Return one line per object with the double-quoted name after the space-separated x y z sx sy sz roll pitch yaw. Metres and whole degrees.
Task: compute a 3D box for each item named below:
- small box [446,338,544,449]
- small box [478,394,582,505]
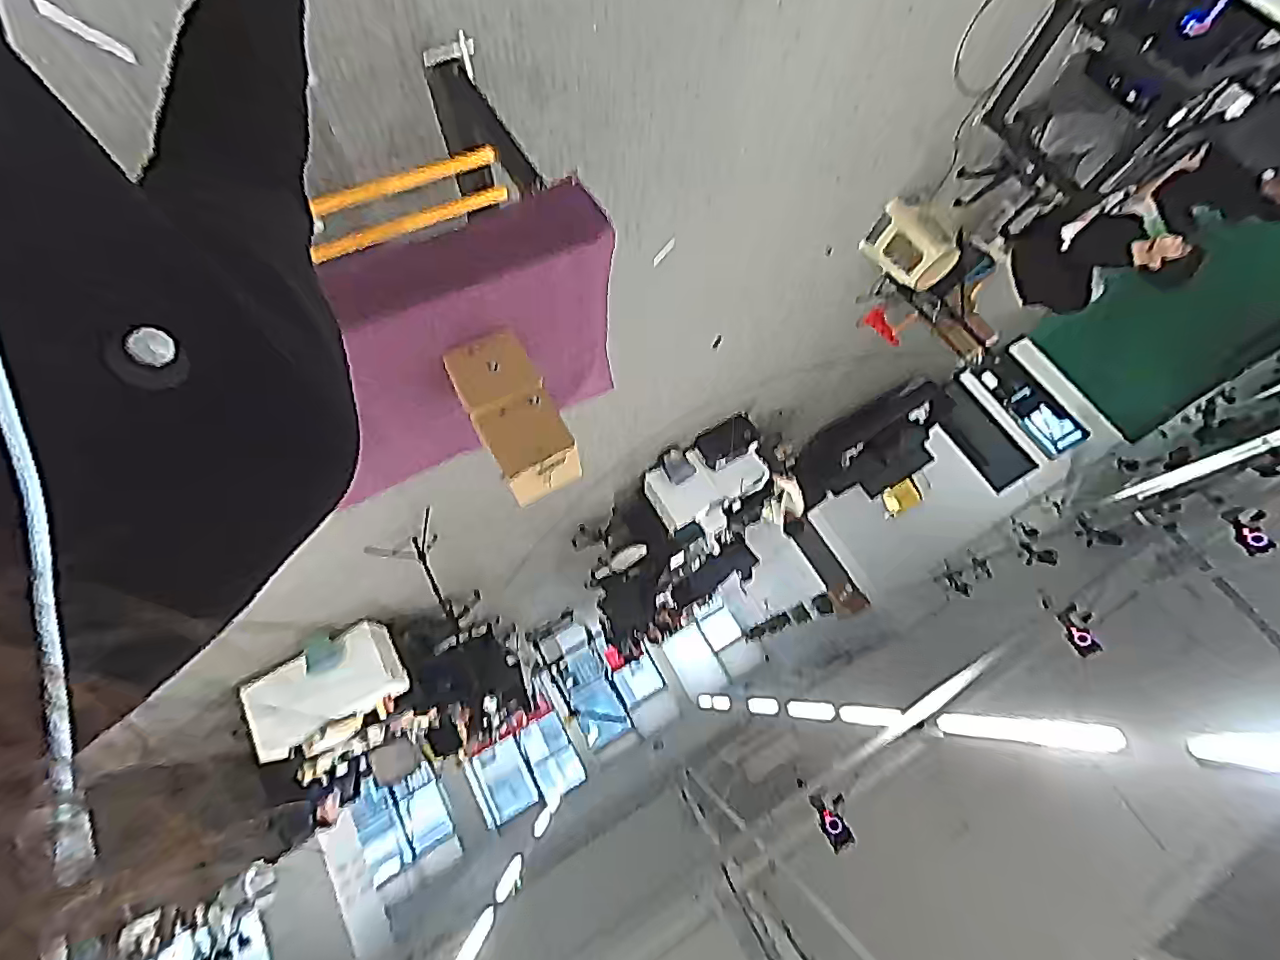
-0.334 -0.208 1.269 0.168 0.176 0.179 -27 162 -16 "small box"
-0.247 -0.074 1.232 0.168 0.176 0.179 -28 163 -12 "small box"
